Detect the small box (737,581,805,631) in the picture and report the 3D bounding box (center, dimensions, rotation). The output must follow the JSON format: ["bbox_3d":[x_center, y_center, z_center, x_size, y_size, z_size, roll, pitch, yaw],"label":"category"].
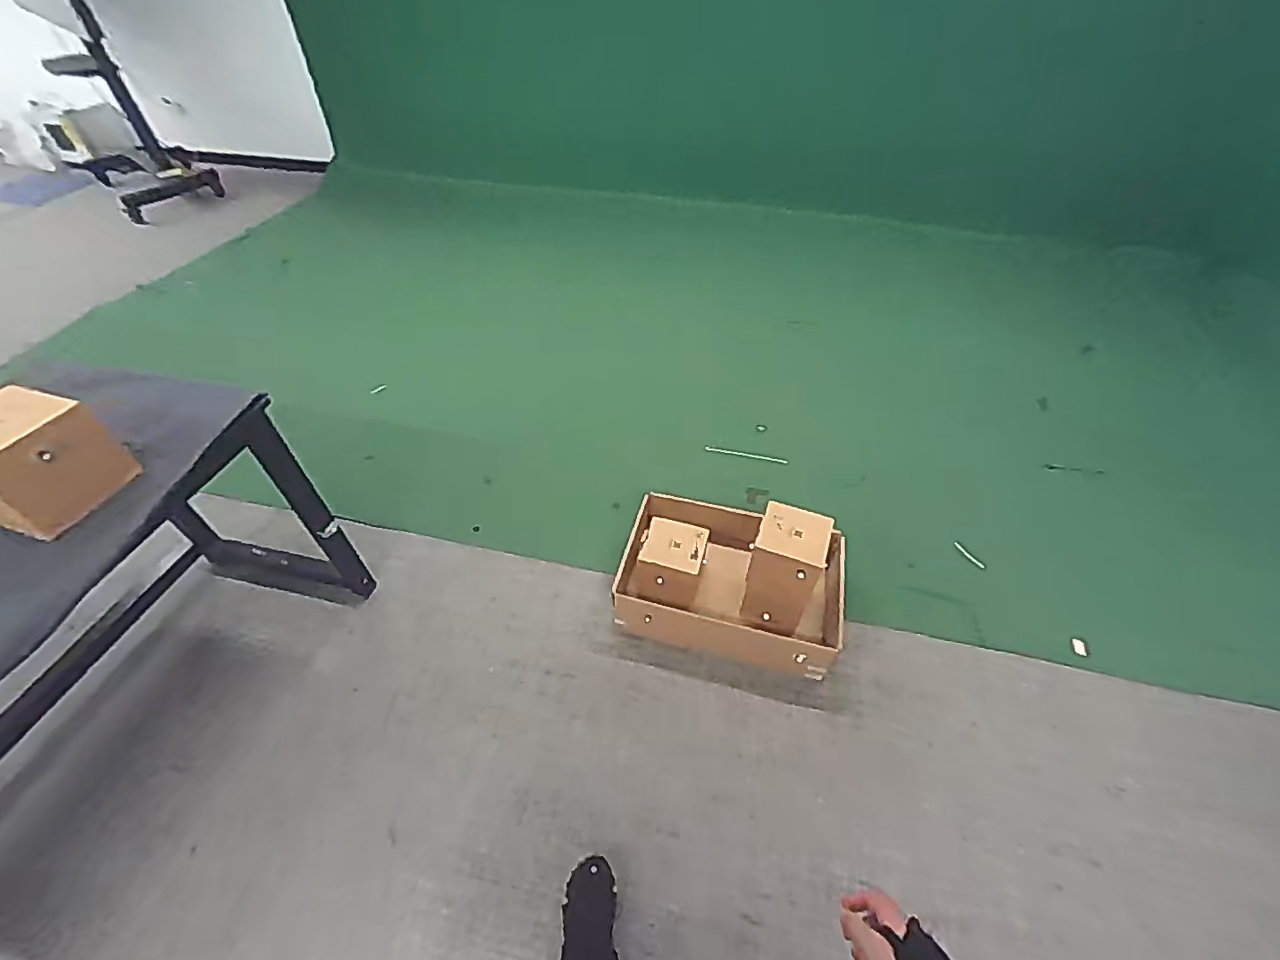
[{"bbox_3d":[0.385,0.300,1.555,0.168,0.176,0.179,17,50,15],"label":"small box"}]

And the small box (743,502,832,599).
[{"bbox_3d":[0.386,0.192,1.431,0.179,0.176,0.168,17,49,15],"label":"small box"}]

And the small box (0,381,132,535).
[{"bbox_3d":[-1.026,-0.035,0.898,0.168,0.176,0.179,13,47,11],"label":"small box"}]
